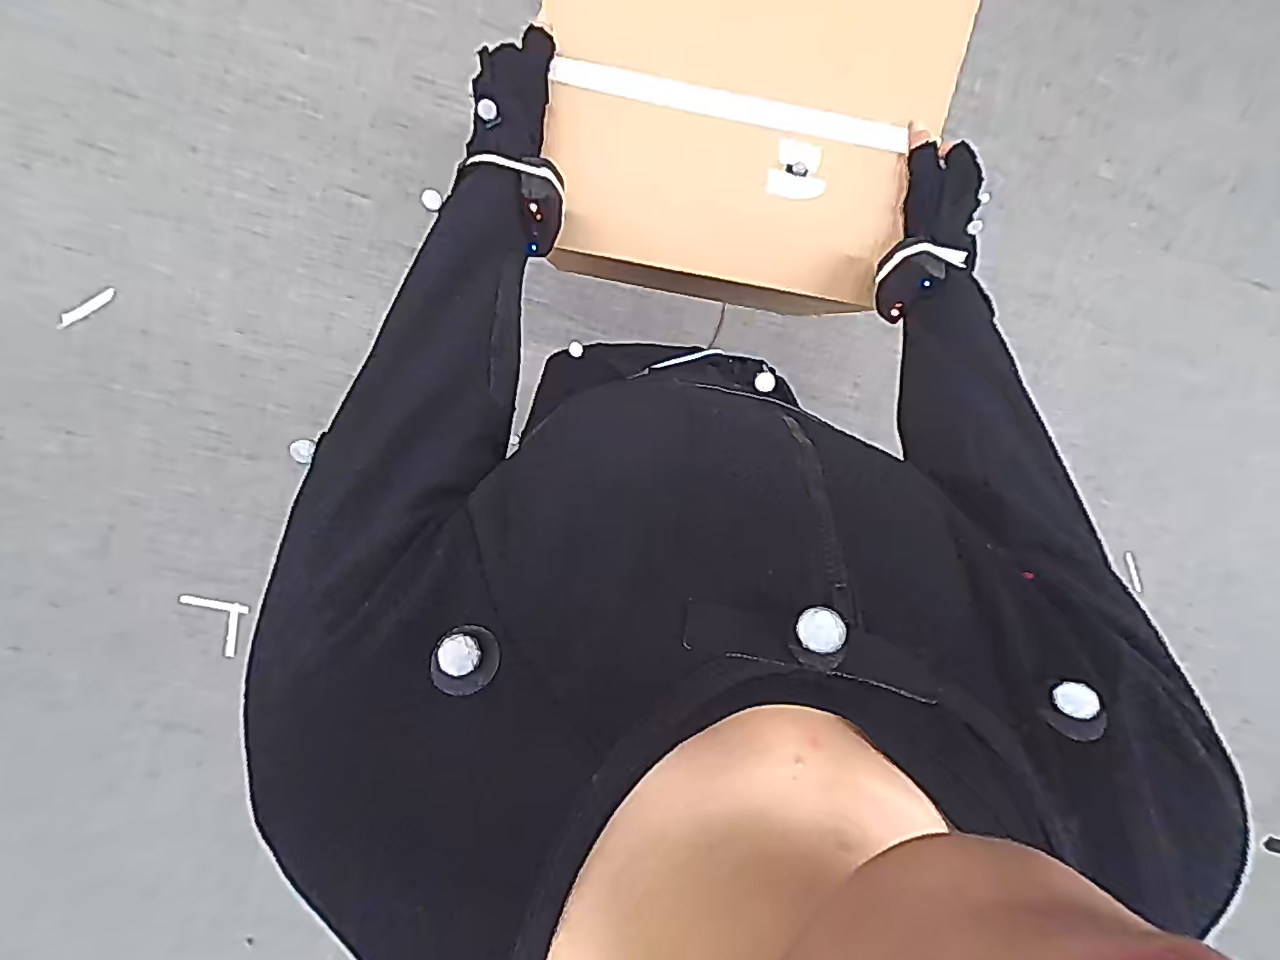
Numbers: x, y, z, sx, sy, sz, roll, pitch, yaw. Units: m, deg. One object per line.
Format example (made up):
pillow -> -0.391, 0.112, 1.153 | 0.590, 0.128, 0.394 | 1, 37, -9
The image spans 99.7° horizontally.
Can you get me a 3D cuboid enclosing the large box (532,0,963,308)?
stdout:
large box -> 0.093, -0.413, 0.693 | 0.408, 0.320, 0.320 | 9, 107, -5
